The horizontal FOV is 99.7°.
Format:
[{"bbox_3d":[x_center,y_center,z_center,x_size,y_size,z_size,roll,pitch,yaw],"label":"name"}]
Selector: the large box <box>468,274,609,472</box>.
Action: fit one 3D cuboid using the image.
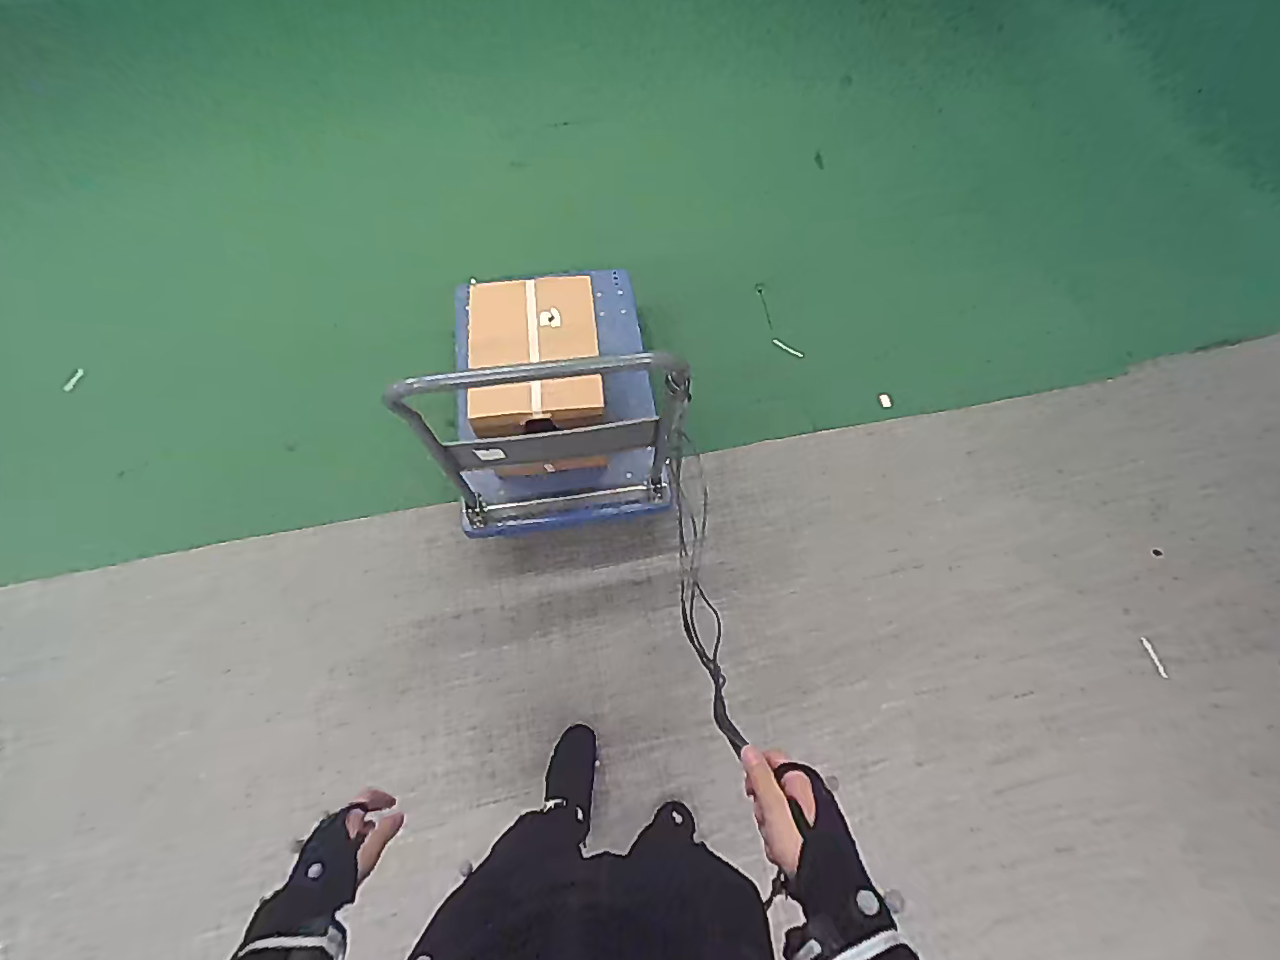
[{"bbox_3d":[-0.260,-0.276,1.435,0.320,0.320,0.408,-5,65,-5],"label":"large box"}]
